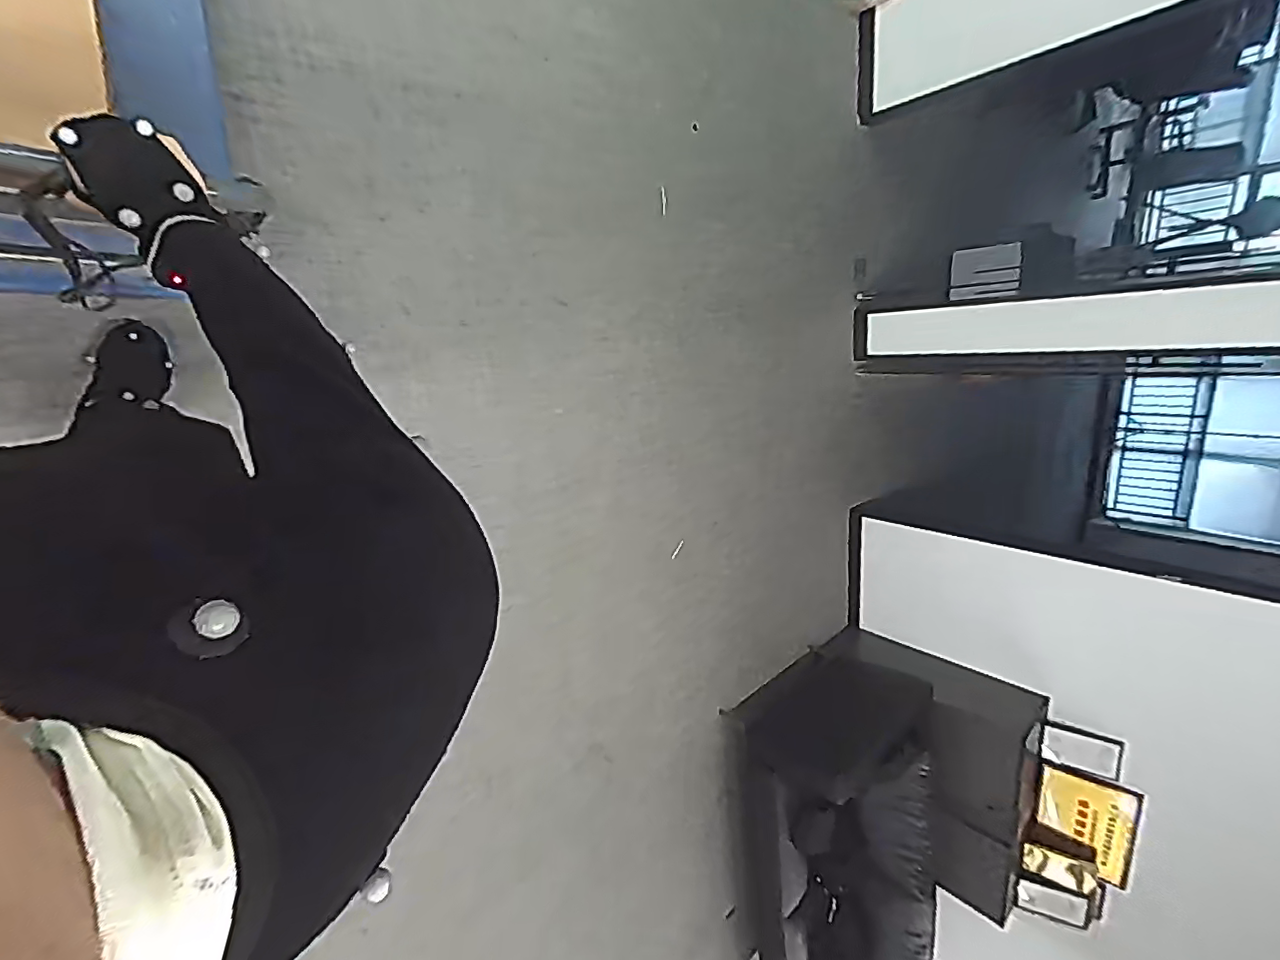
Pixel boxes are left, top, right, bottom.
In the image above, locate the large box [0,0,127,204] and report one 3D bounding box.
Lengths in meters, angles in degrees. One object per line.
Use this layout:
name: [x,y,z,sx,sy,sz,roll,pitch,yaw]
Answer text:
large box: [-0.973,-0.661,0.760,0.320,0.320,0.408,-8,103,-40]
